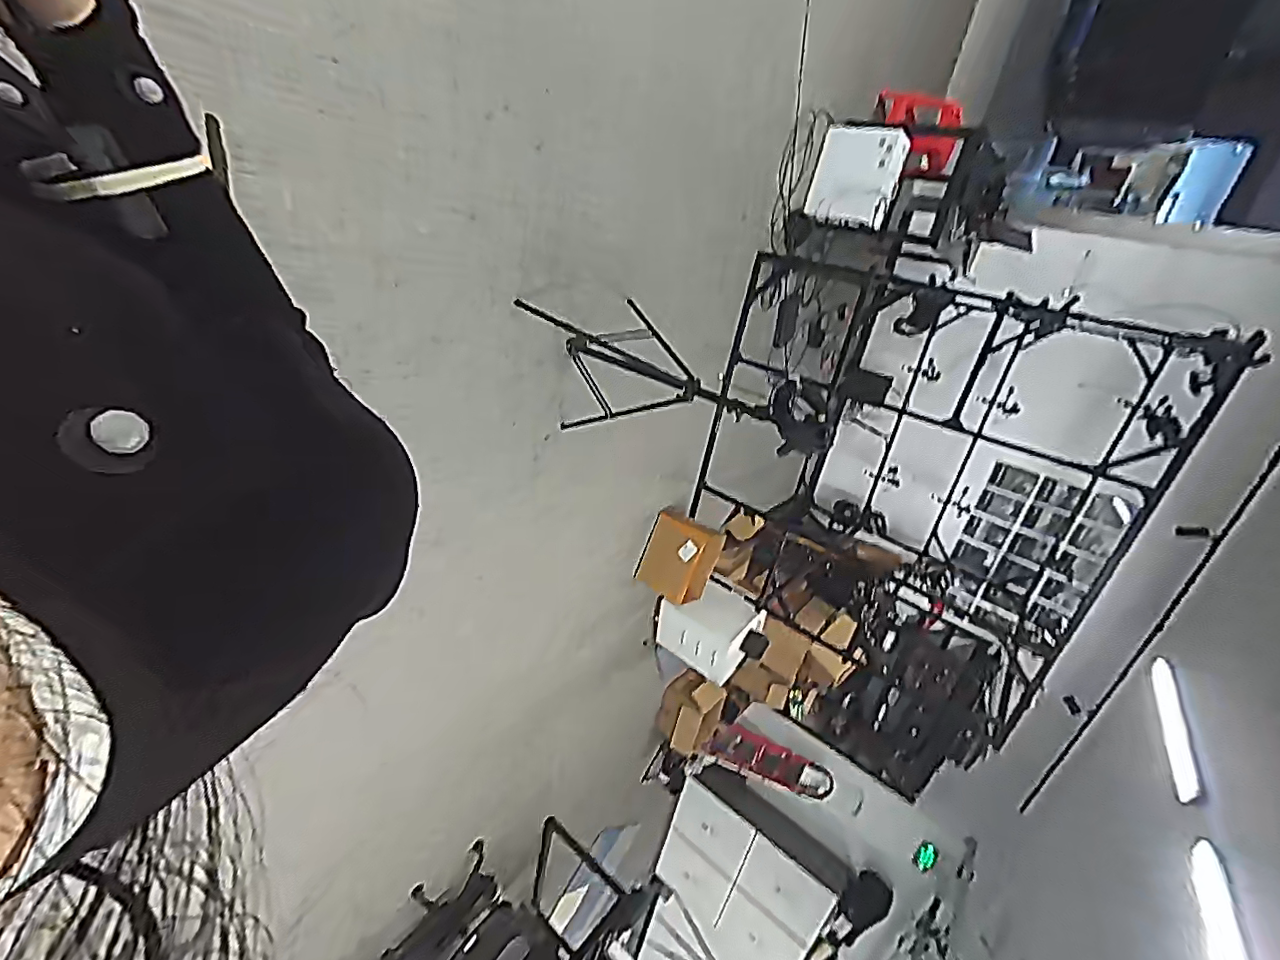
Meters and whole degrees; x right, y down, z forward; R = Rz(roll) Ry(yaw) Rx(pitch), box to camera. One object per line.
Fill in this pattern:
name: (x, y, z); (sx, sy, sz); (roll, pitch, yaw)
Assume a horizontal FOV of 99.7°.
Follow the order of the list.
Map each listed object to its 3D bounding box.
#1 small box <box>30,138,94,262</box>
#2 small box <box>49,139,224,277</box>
small box: (-0.946, -0.498, 0.976); (0.168, 0.176, 0.179); (-23, 130, -47)
small box: (-0.820, -0.442, 0.886); (0.168, 0.176, 0.179); (-19, 127, -49)
